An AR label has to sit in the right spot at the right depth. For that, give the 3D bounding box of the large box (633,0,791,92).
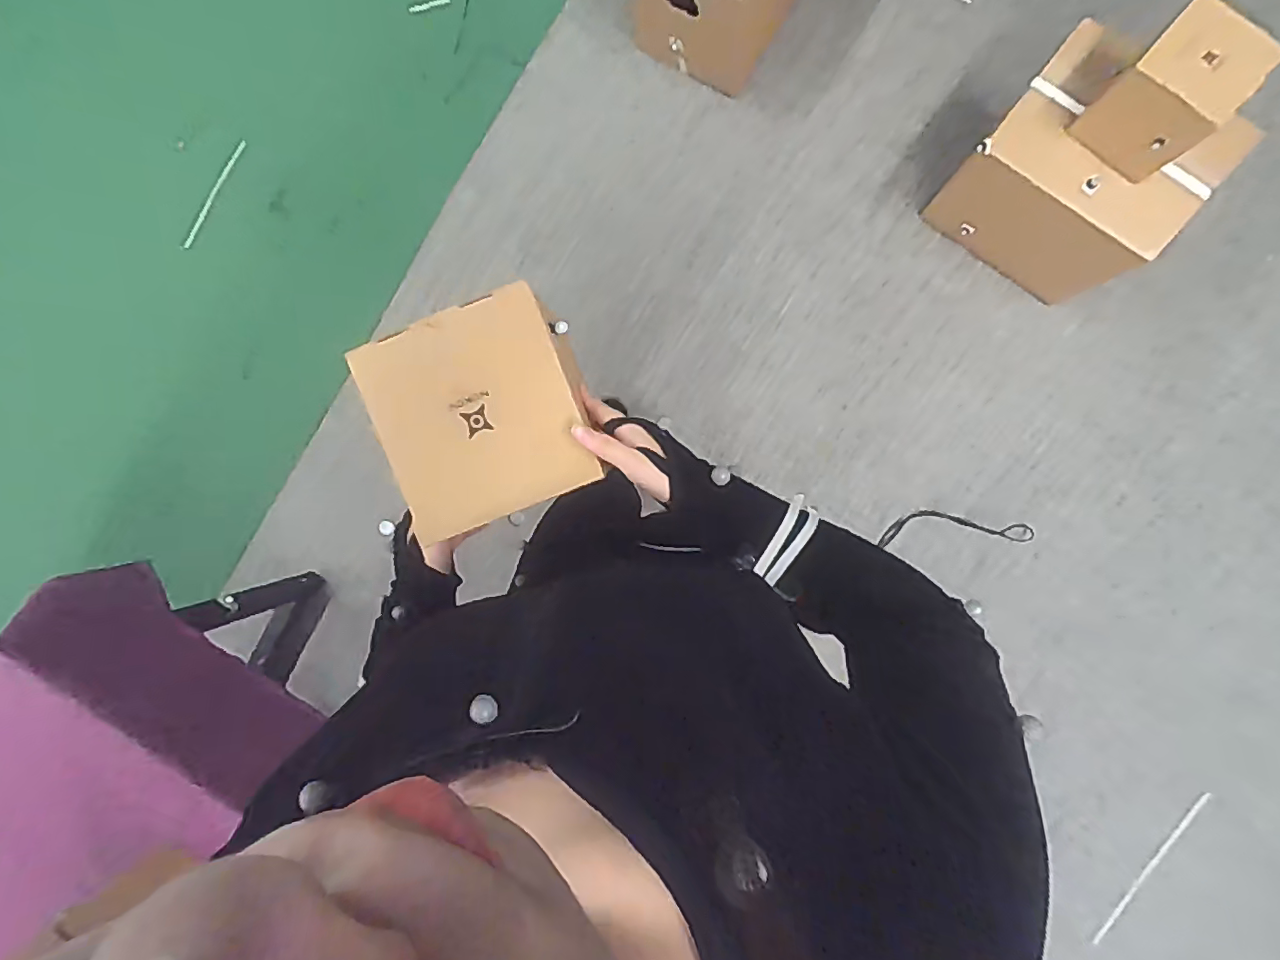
[{"bbox_3d":[0.207,-1.260,1.281,0.320,0.320,0.408,32,94,5],"label":"large box"}]

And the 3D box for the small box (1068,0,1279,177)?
[{"bbox_3d":[0.944,-0.688,0.973,0.179,0.176,0.168,42,92,4],"label":"small box"}]

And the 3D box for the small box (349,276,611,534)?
[{"bbox_3d":[-0.134,-0.067,0.529,0.168,0.176,0.179,-20,94,3],"label":"small box"}]
